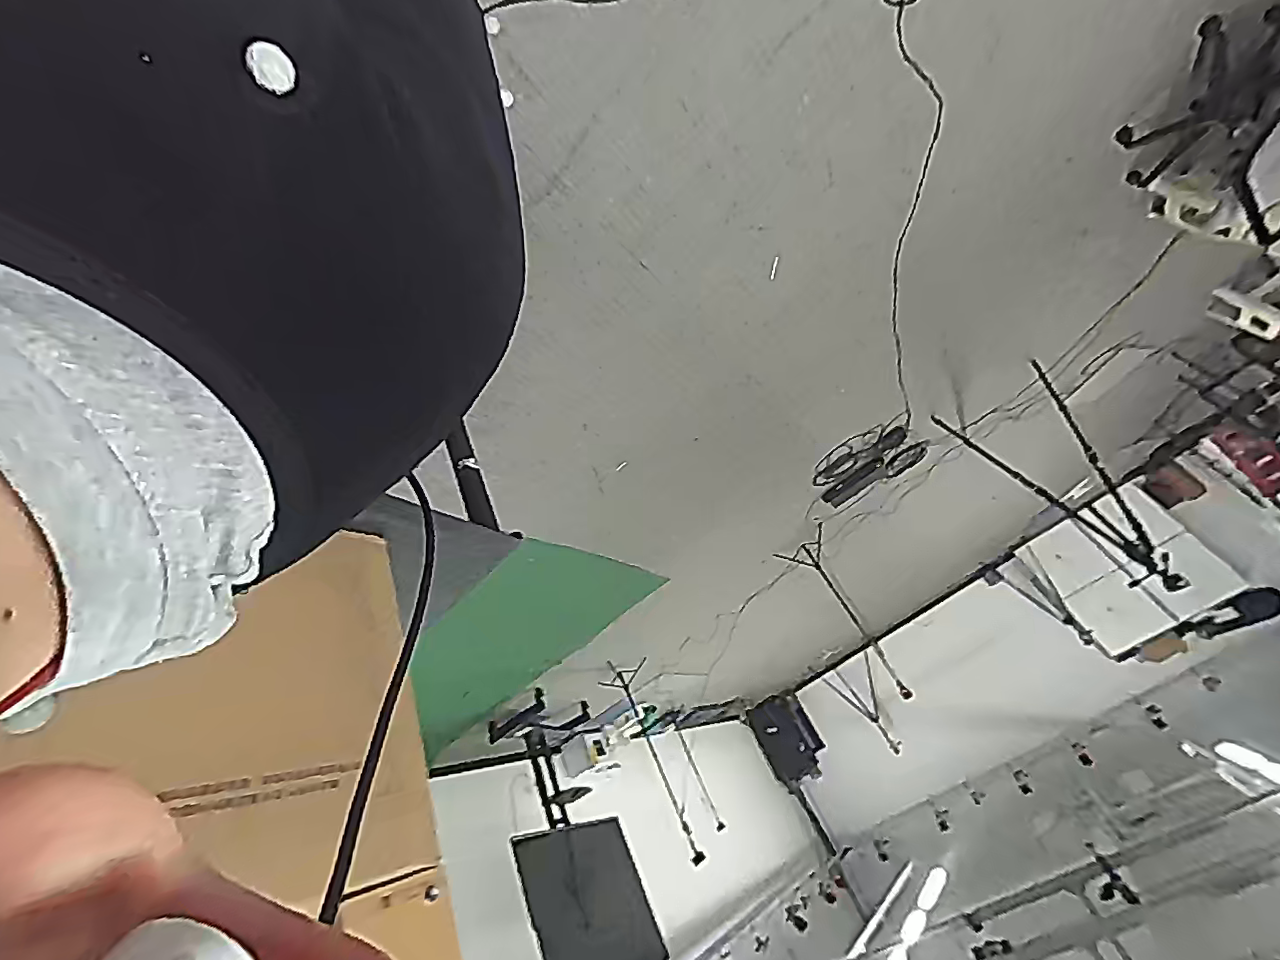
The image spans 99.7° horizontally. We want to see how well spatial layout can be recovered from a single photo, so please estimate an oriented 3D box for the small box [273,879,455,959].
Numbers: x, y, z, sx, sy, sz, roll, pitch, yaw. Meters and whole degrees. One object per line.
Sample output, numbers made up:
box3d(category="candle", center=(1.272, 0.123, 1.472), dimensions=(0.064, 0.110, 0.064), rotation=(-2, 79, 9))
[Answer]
box3d(category="small box", center=(-0.379, 0.689, 0.746), dimensions=(0.179, 0.176, 0.168), rotation=(-39, 146, 17))
